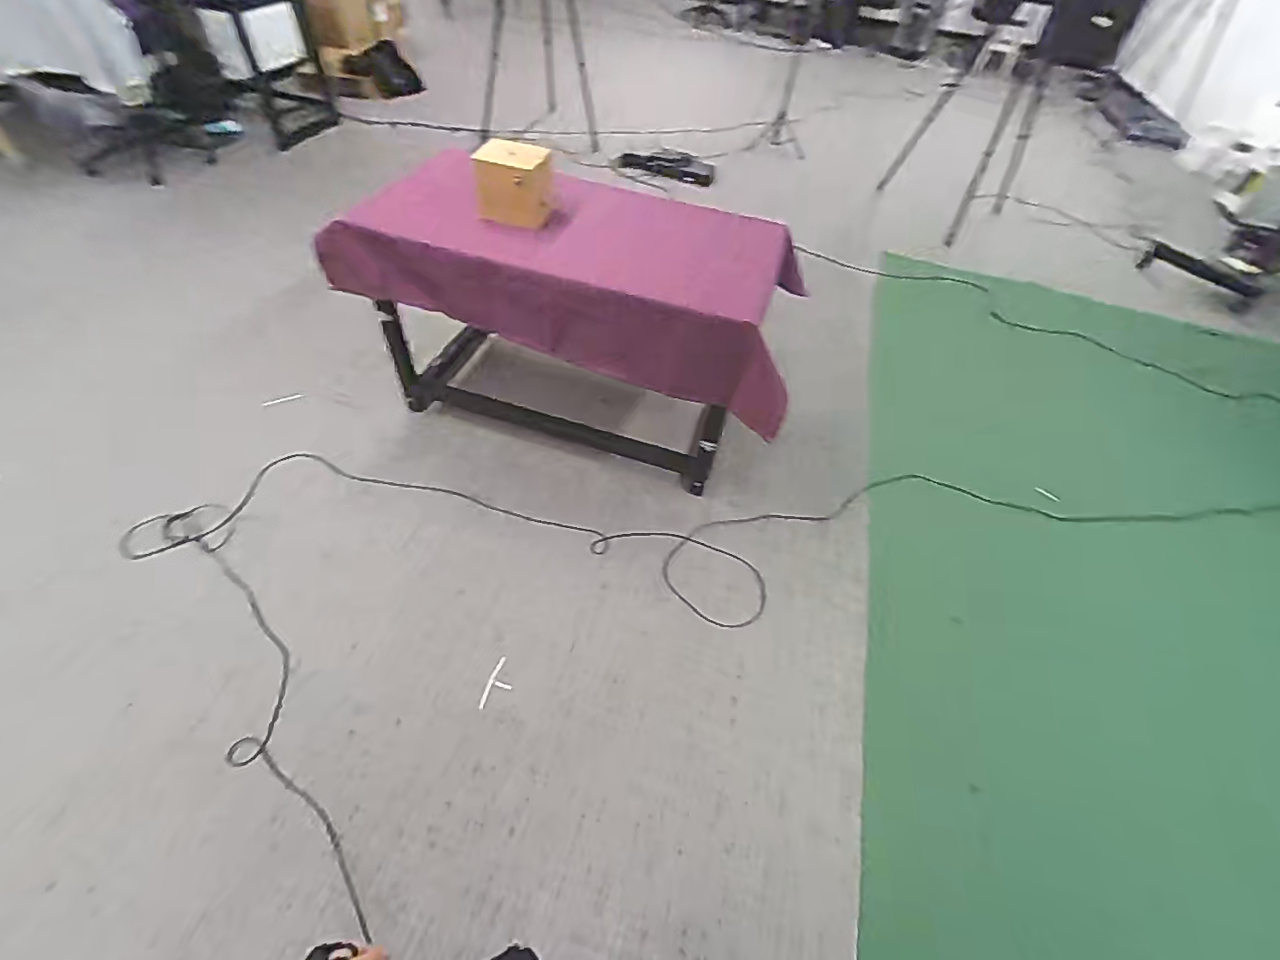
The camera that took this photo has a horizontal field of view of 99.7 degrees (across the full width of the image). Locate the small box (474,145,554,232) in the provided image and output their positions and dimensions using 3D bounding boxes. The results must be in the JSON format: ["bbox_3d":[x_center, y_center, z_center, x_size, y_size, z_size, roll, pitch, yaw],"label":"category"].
[{"bbox_3d":[-0.360,-0.848,1.578,0.179,0.176,0.168,14,50,4],"label":"small box"}]
